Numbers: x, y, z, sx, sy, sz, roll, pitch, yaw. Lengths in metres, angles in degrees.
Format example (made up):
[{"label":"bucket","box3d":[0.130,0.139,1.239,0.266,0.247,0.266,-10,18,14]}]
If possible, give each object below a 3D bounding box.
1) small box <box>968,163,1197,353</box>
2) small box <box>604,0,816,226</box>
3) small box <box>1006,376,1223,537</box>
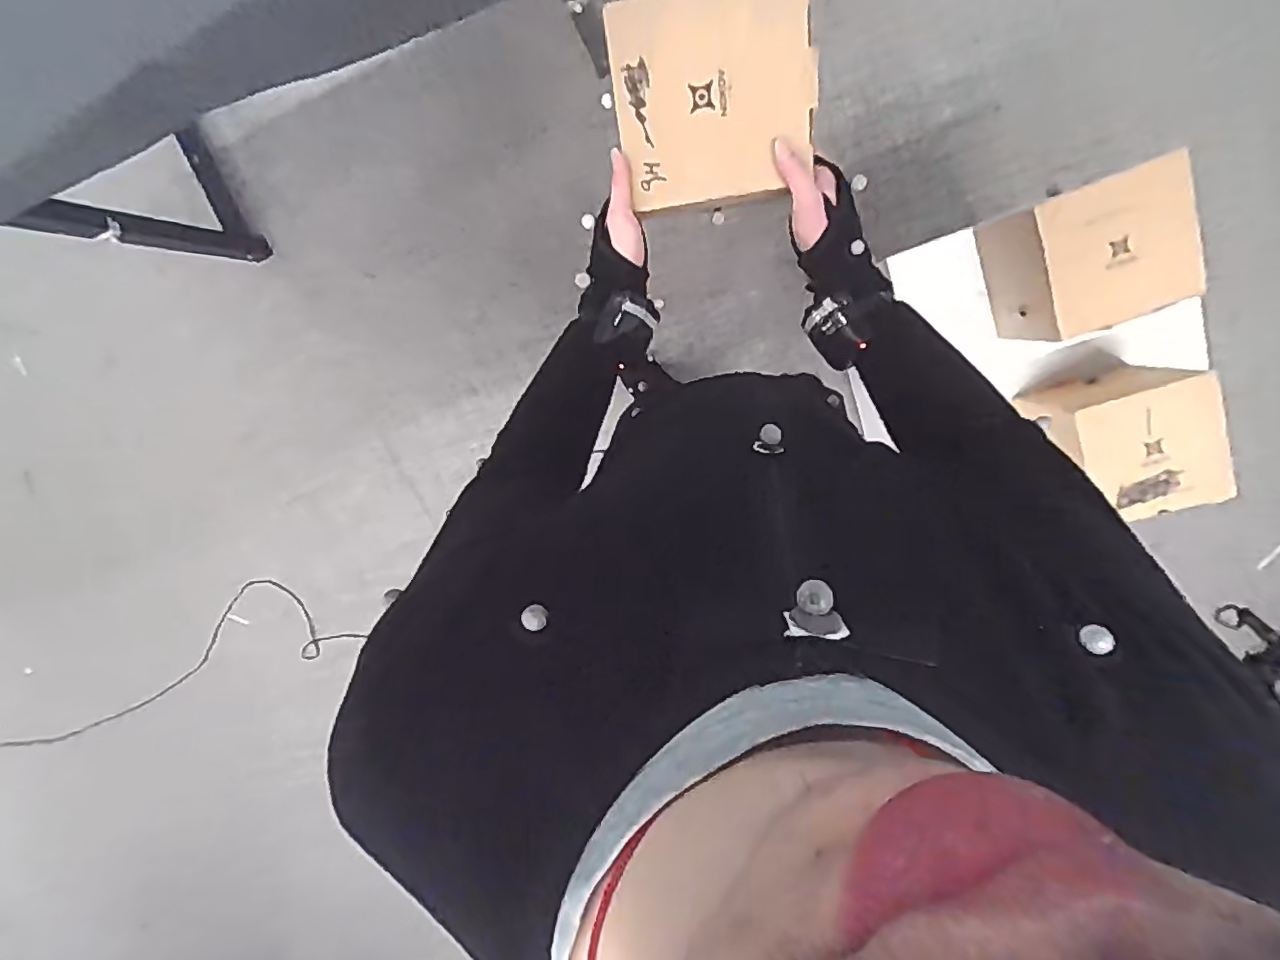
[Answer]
[{"label":"small box","box3d":[0.585,-0.287,0.736,0.168,0.176,0.179,-20,101,10]},{"label":"small box","box3d":[0.068,-0.361,0.544,0.179,0.176,0.168,-6,110,6]},{"label":"small box","box3d":[0.674,-0.042,0.787,0.168,0.176,0.179,-17,101,11]}]
